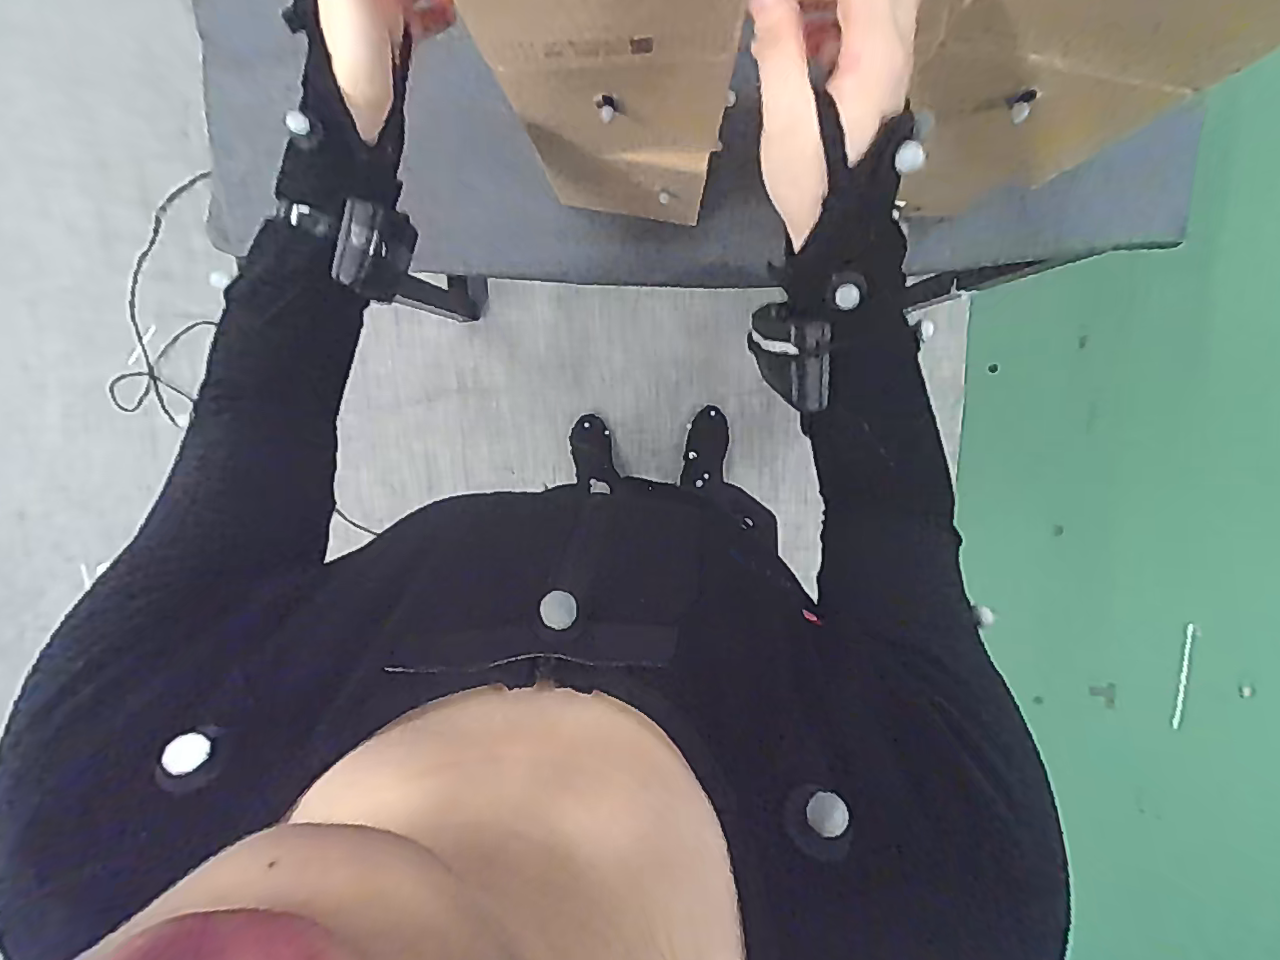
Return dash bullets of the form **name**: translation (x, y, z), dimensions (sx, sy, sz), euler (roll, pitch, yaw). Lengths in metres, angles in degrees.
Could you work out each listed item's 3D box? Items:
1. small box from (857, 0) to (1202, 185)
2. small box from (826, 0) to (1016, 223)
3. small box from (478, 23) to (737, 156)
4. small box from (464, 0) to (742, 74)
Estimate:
- **small box**: translation (0.299, -0.355, 0.422), dimensions (0.179, 0.176, 0.168), euler (12, 99, 2)
- **small box**: translation (0.307, -0.395, 0.580), dimensions (0.168, 0.176, 0.179), euler (1, 100, 3)
- **small box**: translation (-0.018, -0.381, 0.430), dimensions (0.179, 0.176, 0.168), euler (1, 99, 3)
- **small box**: translation (-0.024, -0.347, 0.269), dimensions (0.168, 0.176, 0.179), euler (0, 98, 3)
